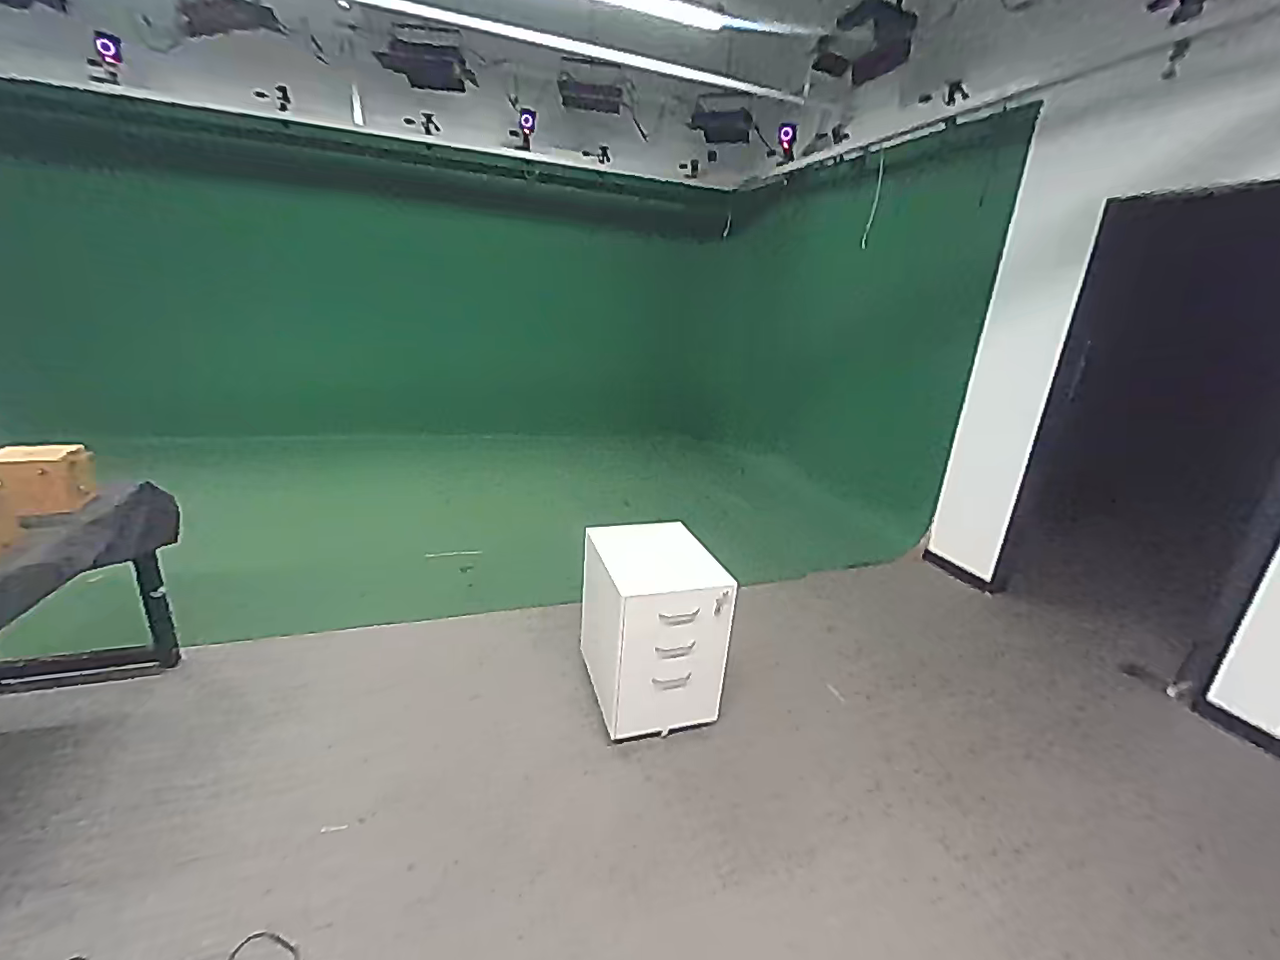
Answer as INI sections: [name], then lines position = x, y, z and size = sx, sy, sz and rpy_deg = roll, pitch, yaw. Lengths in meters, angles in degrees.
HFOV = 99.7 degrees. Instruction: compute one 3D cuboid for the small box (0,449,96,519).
[small box]
position = -1.783, 0.011, 1.606
size = 0.179, 0.176, 0.168
rpy_deg = -4, 20, -24
